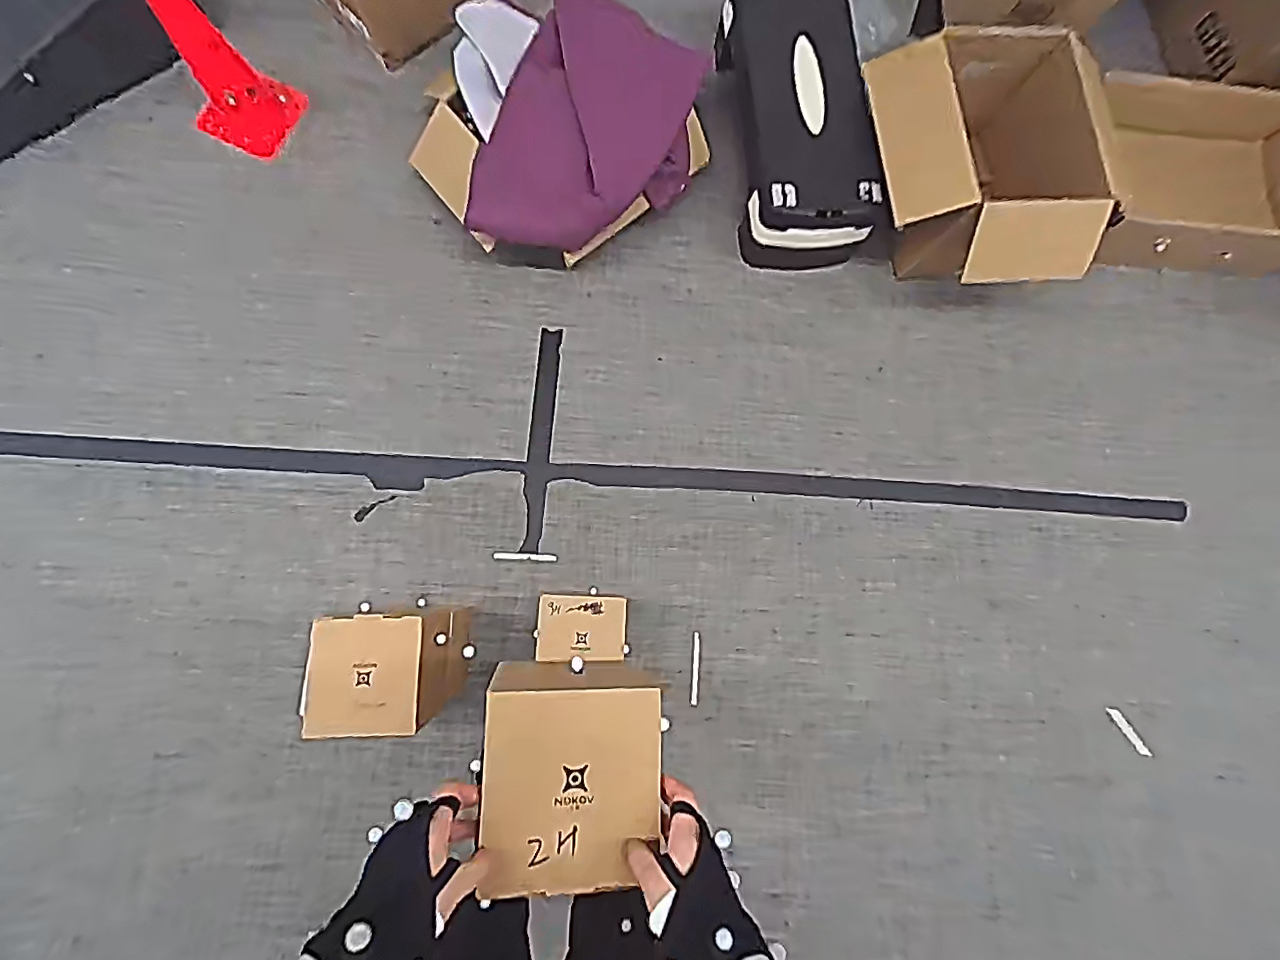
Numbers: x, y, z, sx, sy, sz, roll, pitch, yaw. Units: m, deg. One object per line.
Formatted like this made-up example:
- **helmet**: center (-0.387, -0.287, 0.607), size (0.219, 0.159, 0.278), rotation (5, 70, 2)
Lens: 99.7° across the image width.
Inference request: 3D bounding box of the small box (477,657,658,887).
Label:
- **small box**: center (-0.079, 0.292, 0.585), size (0.168, 0.176, 0.179), rotation (2, 82, -10)

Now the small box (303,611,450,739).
- **small box**: center (-0.422, 0.310, 0.894), size (0.168, 0.176, 0.179), rotation (-1, 82, -3)

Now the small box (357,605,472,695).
- **small box**: center (-0.440, 0.335, 1.054), size (0.179, 0.176, 0.168), rotation (2, 80, -5)

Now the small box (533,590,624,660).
- **small box**: center (-0.121, 0.319, 1.087), size (0.168, 0.176, 0.179), rotation (4, 81, -4)
